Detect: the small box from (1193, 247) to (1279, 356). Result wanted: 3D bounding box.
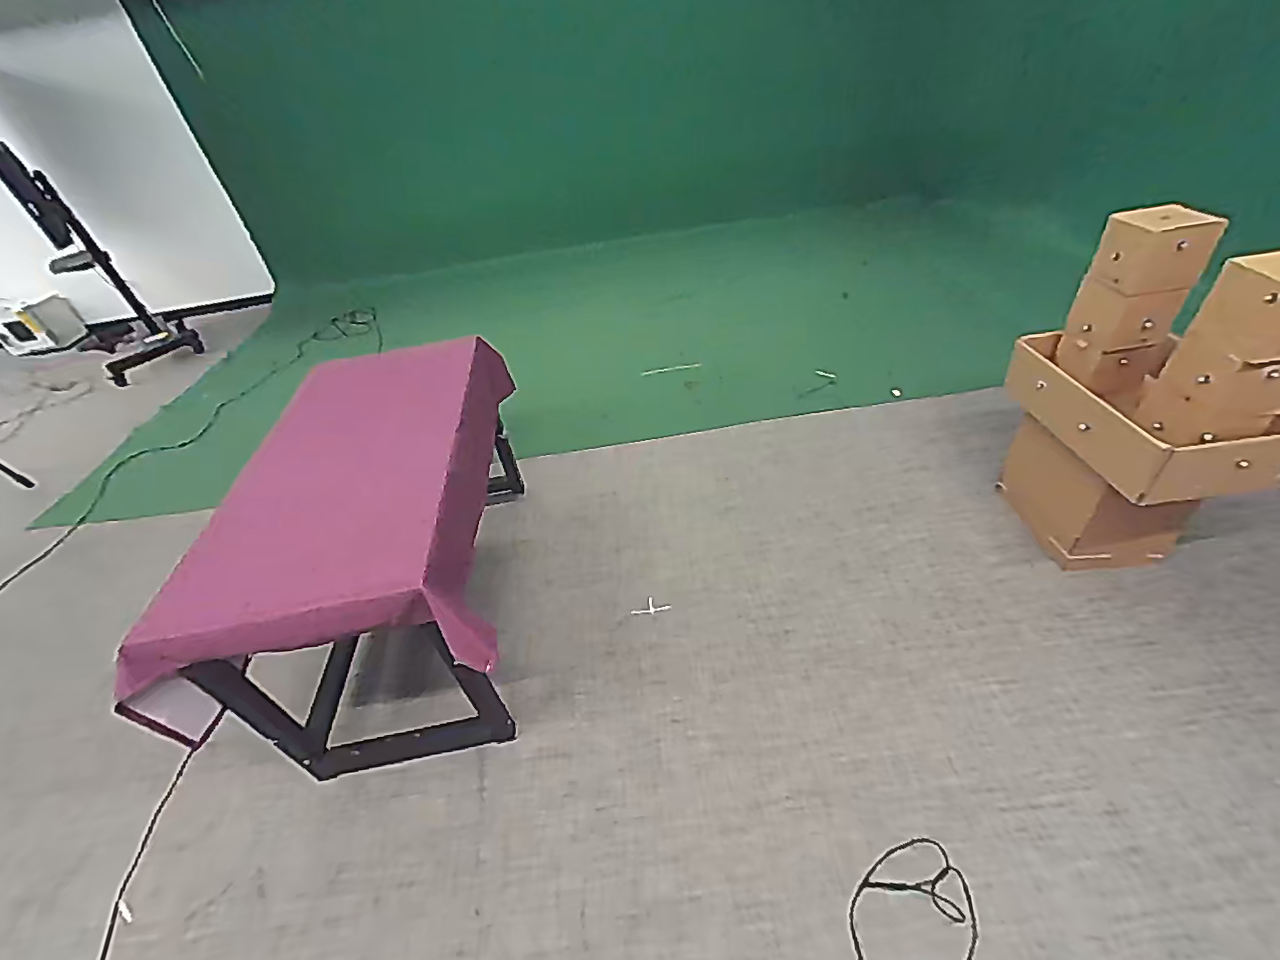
[{"bbox_3d":[1.383,-0.390,1.172,0.168,0.176,0.179,-8,42,3],"label":"small box"}]

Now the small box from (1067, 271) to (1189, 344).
[{"bbox_3d":[1.396,-0.505,1.562,0.168,0.176,0.179,-9,40,2],"label":"small box"}]

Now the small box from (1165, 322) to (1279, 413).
[{"bbox_3d":[1.409,-0.271,1.279,0.179,0.176,0.168,-4,41,7],"label":"small box"}]

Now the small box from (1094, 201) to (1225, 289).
[{"bbox_3d":[1.376,-0.628,1.454,0.179,0.176,0.168,-8,40,3],"label":"small box"}]
